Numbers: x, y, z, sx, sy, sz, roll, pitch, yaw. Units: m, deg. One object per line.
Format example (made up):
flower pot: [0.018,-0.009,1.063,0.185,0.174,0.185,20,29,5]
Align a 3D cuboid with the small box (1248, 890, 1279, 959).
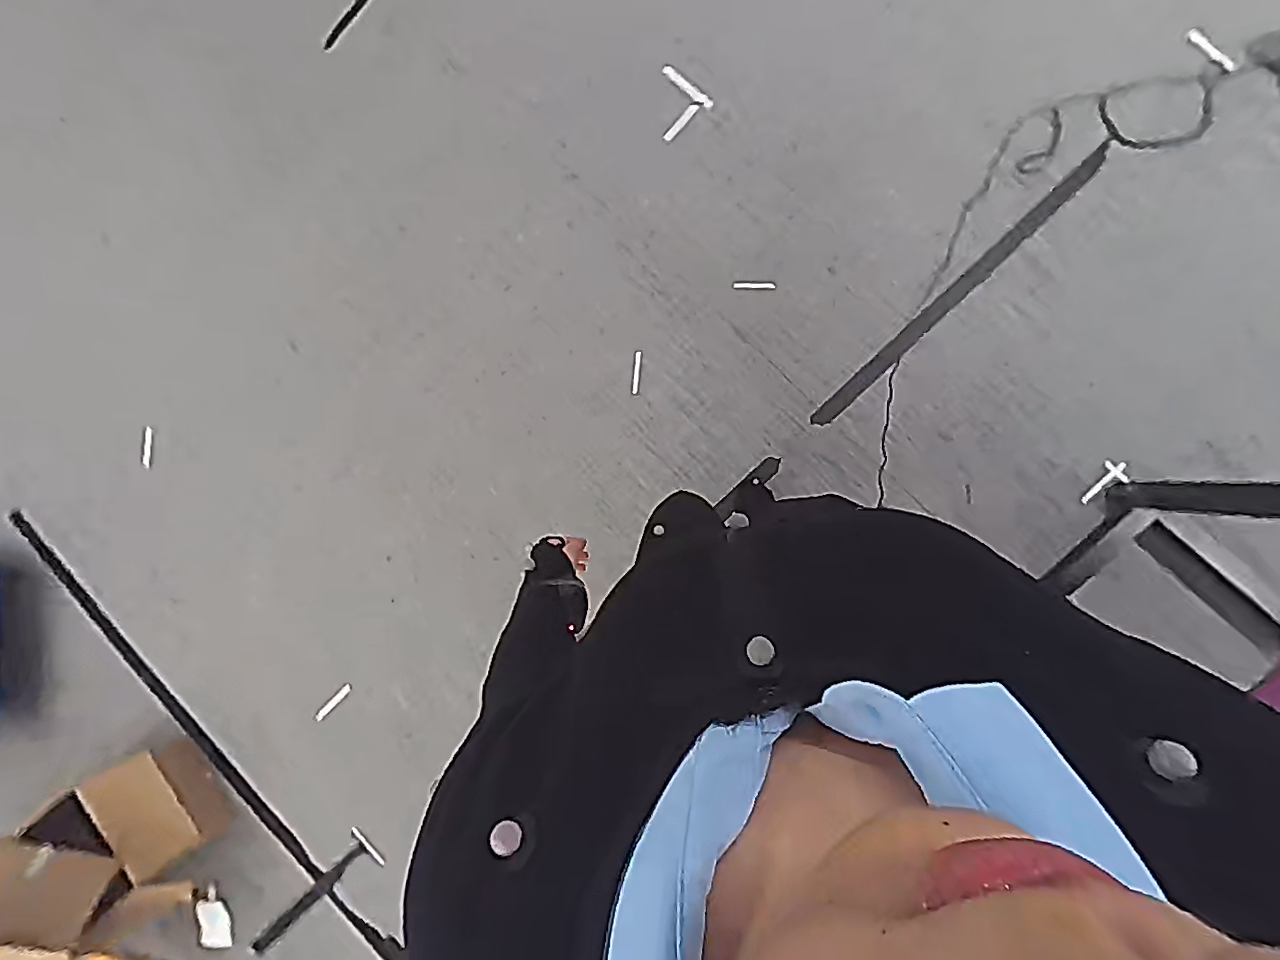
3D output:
small box: [0.869,0.564,0.595,0.179,0.176,0.168,-38,86,6]
